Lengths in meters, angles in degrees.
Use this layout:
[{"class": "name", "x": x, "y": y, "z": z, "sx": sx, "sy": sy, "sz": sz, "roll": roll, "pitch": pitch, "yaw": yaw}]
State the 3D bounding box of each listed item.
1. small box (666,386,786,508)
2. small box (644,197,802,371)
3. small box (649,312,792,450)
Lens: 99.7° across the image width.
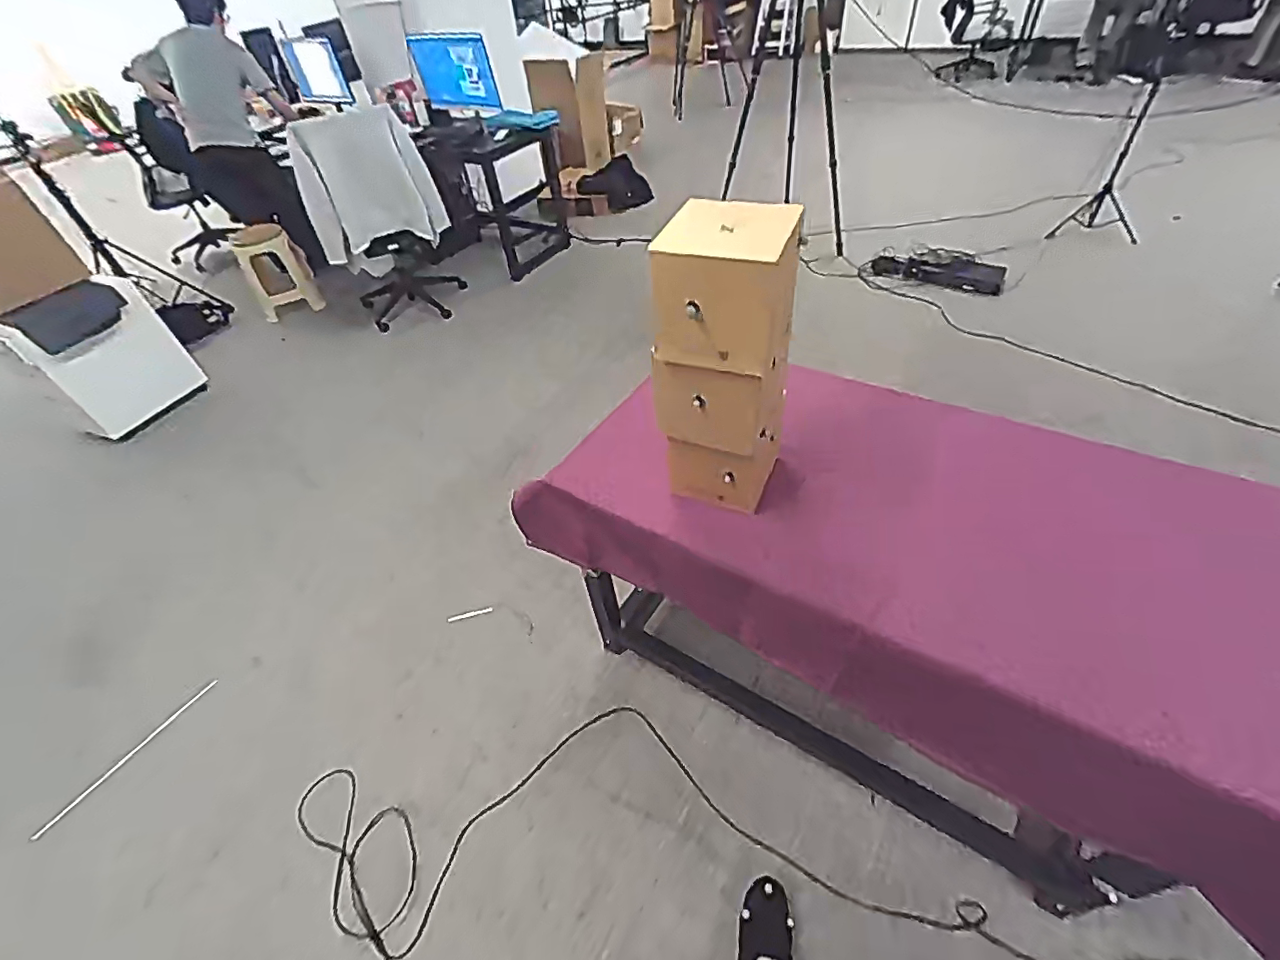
[{"class": "small box", "x": 0.162, "y": -0.075, "z": 1.013, "sx": 0.168, "sy": 0.176, "sz": 0.179, "roll": 17, "pitch": 50, "yaw": 21}, {"class": "small box", "x": 0.119, "y": -0.274, "z": 0.756, "sx": 0.168, "sy": 0.176, "sz": 0.179, "roll": 14, "pitch": 49, "yaw": 19}, {"class": "small box", "x": 0.132, "y": -0.172, "z": 0.882, "sx": 0.179, "sy": 0.176, "sz": 0.168, "roll": 16, "pitch": 51, "yaw": 22}]
